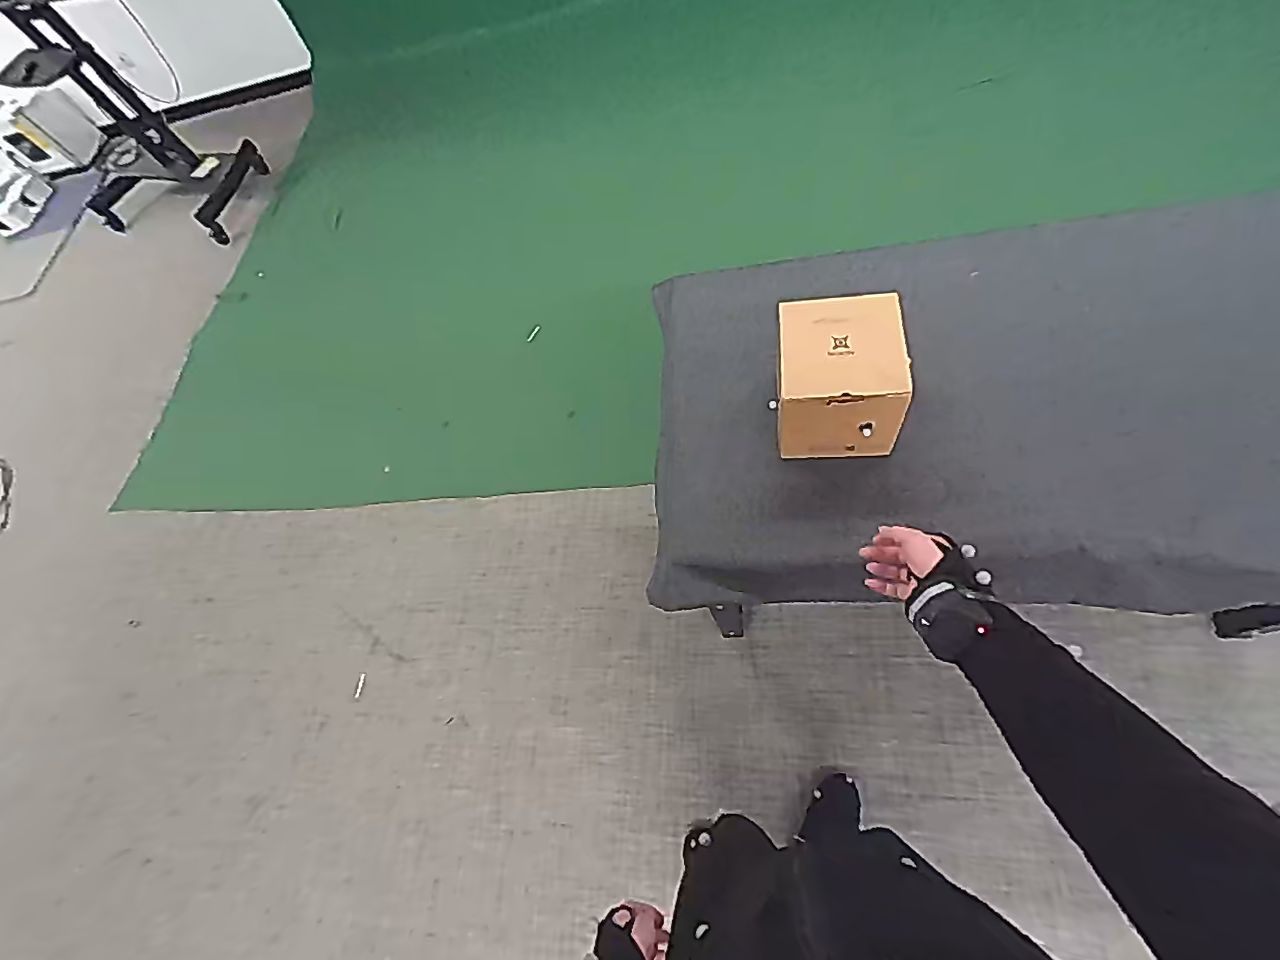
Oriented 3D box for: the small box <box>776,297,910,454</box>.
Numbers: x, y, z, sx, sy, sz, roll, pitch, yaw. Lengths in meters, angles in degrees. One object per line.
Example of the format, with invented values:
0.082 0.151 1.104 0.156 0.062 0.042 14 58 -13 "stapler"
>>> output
0.295 -0.148 0.822 0.168 0.176 0.179 -1 63 11 "small box"
